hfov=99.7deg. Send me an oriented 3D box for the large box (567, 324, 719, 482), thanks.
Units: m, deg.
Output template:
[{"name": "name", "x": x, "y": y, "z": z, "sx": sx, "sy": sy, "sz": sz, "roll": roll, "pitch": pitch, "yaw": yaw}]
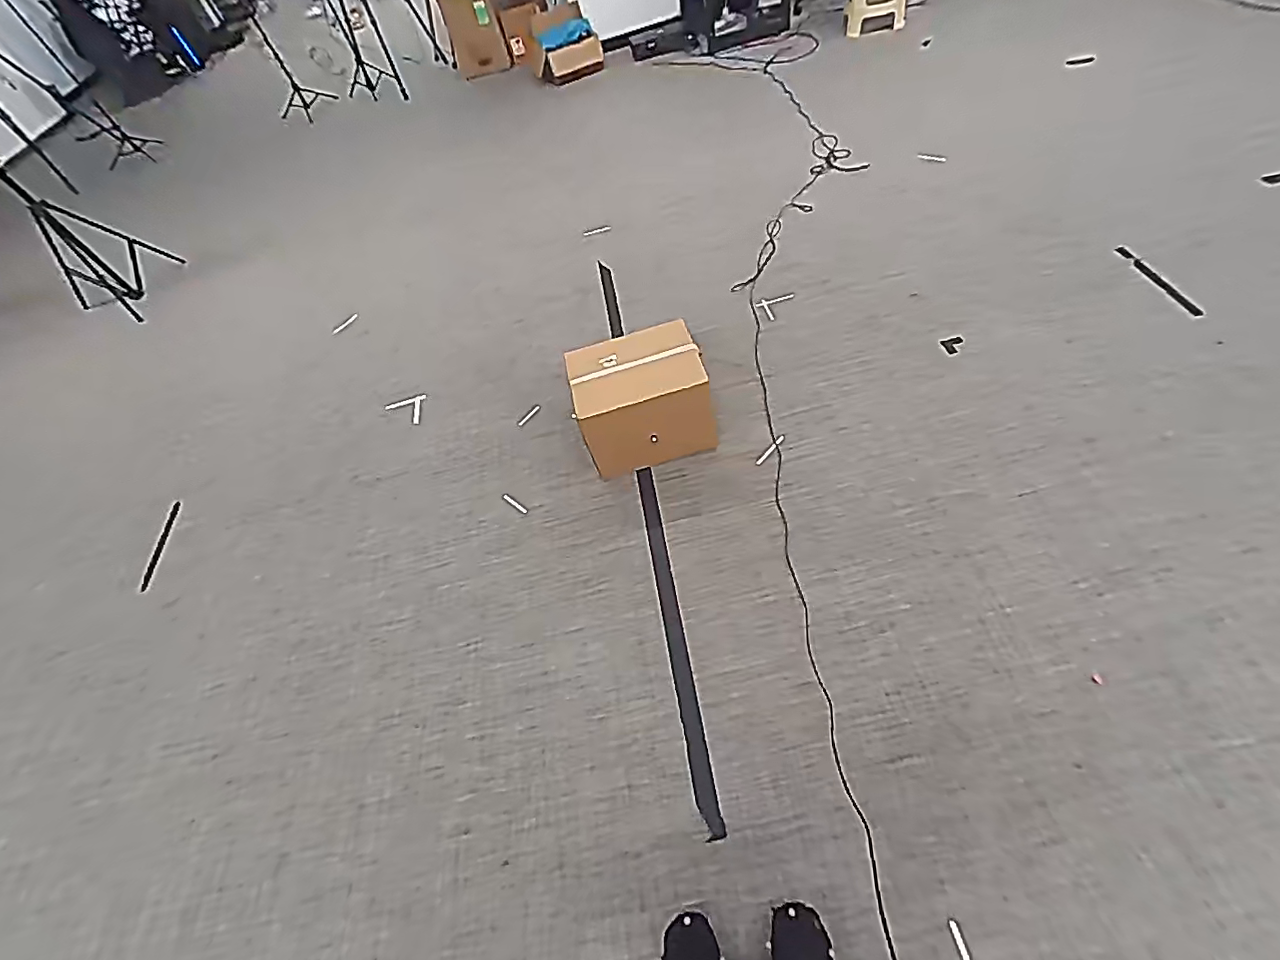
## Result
[{"name": "large box", "x": 0.015, "y": -0.245, "z": 1.775, "sx": 0.408, "sy": 0.320, "sz": 0.320, "roll": -17, "pitch": 51, "yaw": 3}]
